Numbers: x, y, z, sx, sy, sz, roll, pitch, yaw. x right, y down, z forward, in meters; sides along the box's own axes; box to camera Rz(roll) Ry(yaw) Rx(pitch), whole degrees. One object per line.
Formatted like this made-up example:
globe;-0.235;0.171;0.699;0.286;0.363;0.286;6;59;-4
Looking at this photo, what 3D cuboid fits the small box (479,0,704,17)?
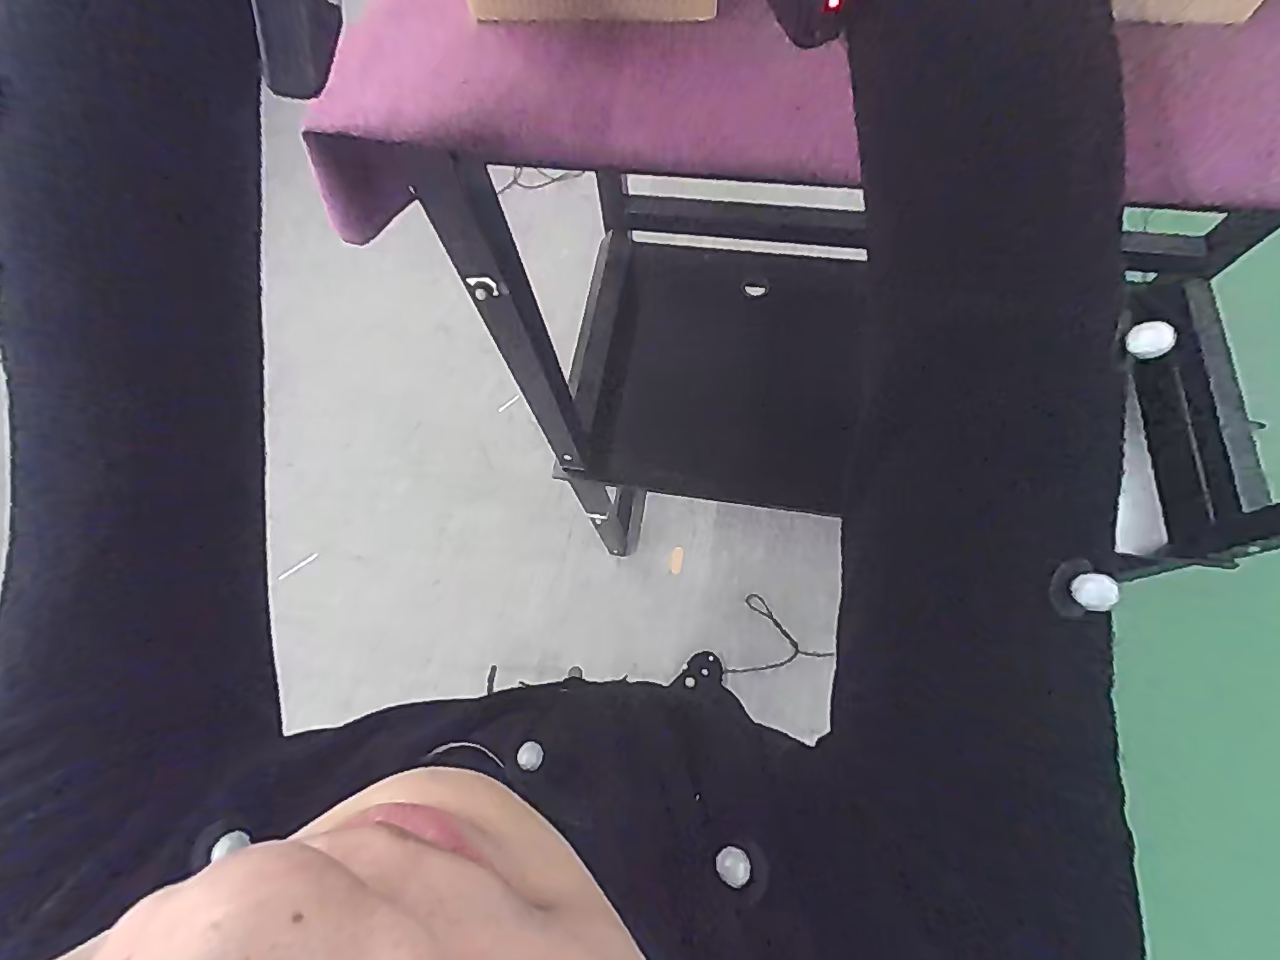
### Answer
small box;-0.031;-0.430;0.334;0.179;0.176;0.168;5;70;5
